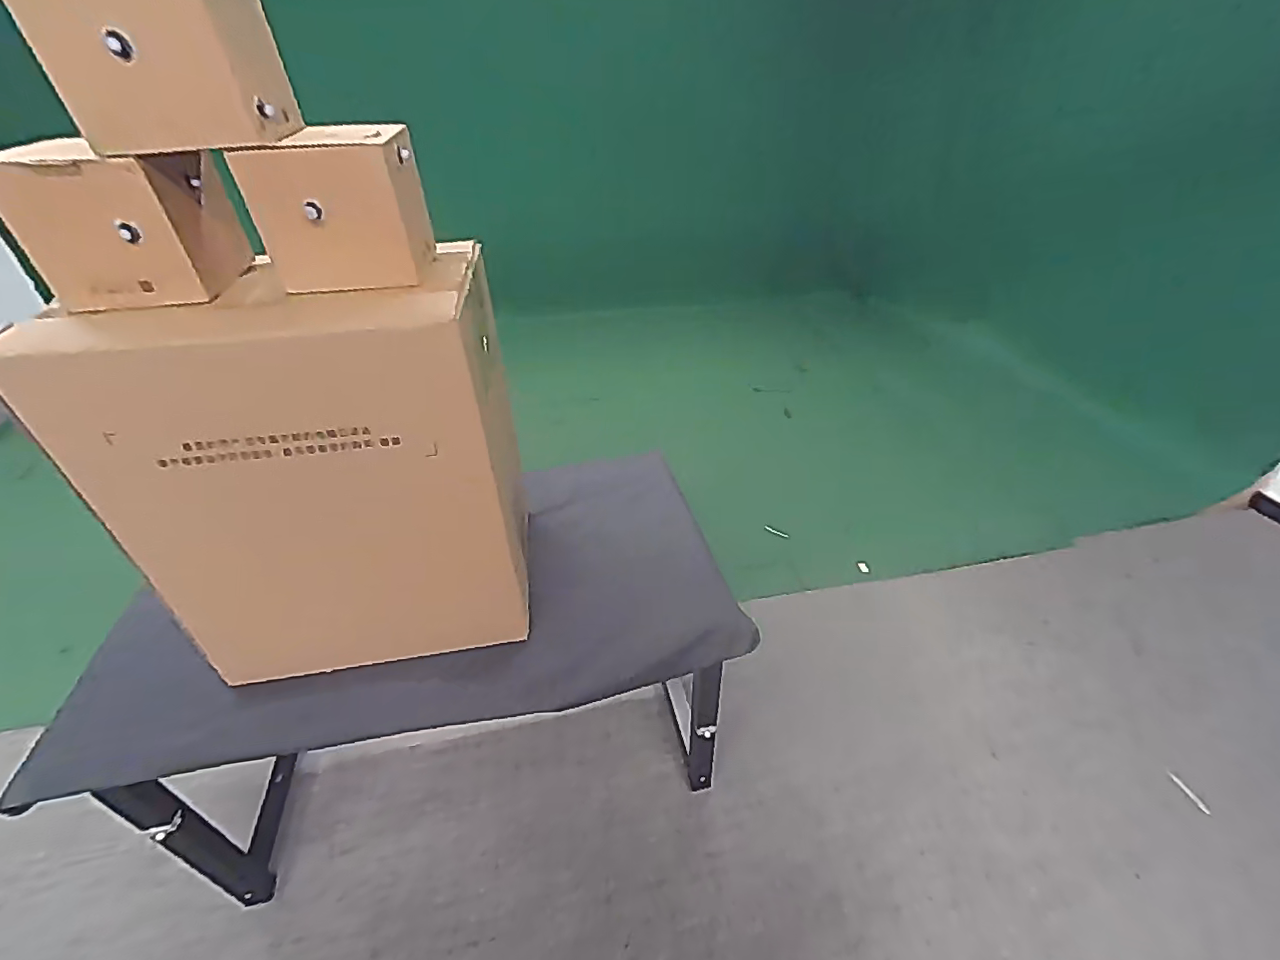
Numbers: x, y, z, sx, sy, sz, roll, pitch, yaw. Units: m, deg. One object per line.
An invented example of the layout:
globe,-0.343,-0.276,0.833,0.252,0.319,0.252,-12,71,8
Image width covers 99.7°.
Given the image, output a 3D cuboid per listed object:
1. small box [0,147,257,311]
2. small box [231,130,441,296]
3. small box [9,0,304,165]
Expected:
small box,-0.642,-0.327,0.702,0.168,0.176,0.179,-7,38,-8
small box,-0.390,-0.361,0.733,0.179,0.176,0.168,-7,40,-5
small box,-0.521,-0.471,0.613,0.179,0.176,0.168,-9,40,-6
